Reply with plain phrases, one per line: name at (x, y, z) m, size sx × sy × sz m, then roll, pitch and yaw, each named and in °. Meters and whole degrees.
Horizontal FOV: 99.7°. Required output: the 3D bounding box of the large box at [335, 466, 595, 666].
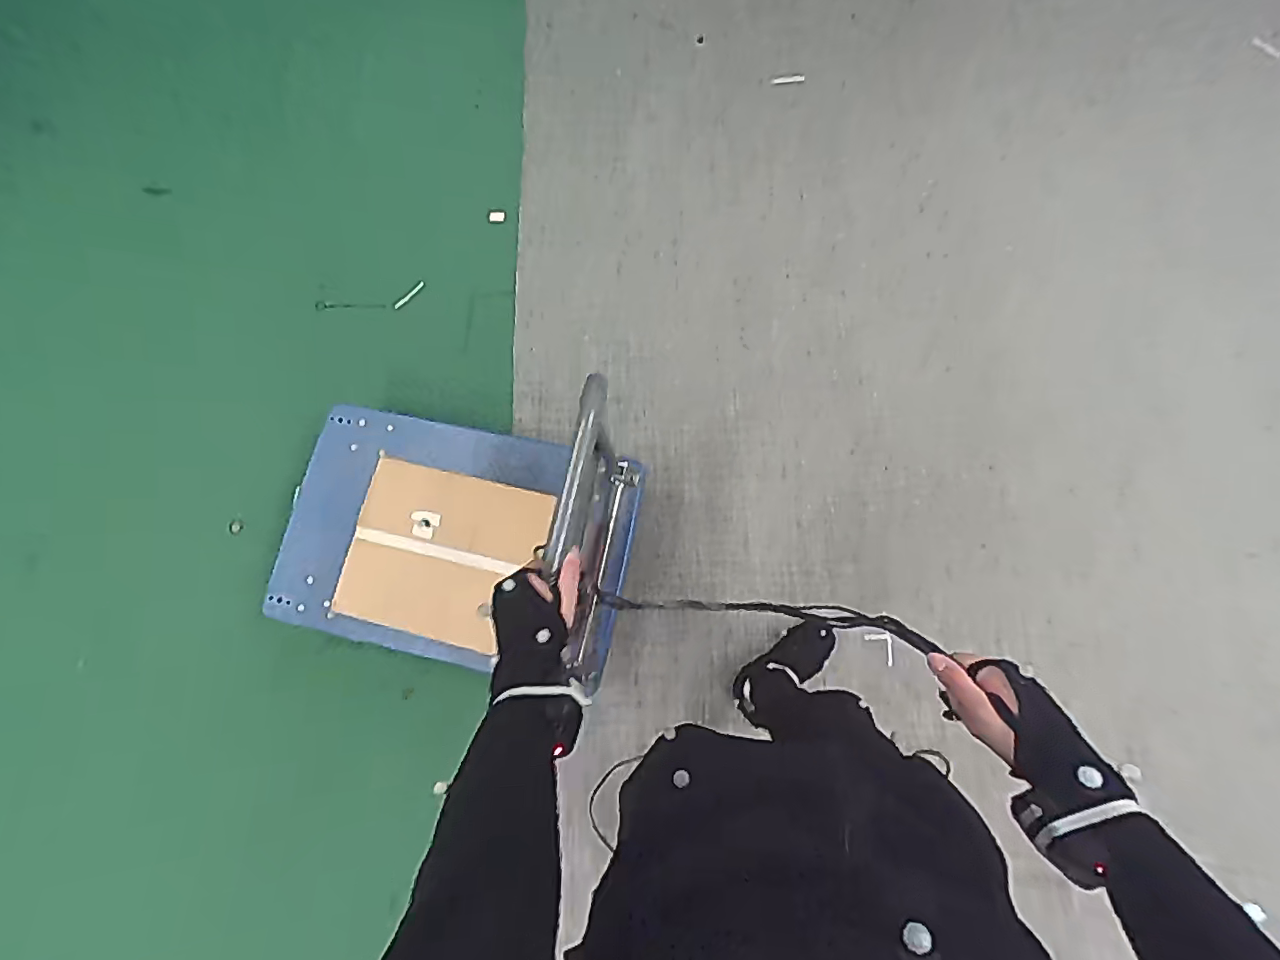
large box at (-0.345, 0.184, 1.177) m, size 0.408 × 0.320 × 0.320 m, roll 13°, pitch 79°, yaw 8°
